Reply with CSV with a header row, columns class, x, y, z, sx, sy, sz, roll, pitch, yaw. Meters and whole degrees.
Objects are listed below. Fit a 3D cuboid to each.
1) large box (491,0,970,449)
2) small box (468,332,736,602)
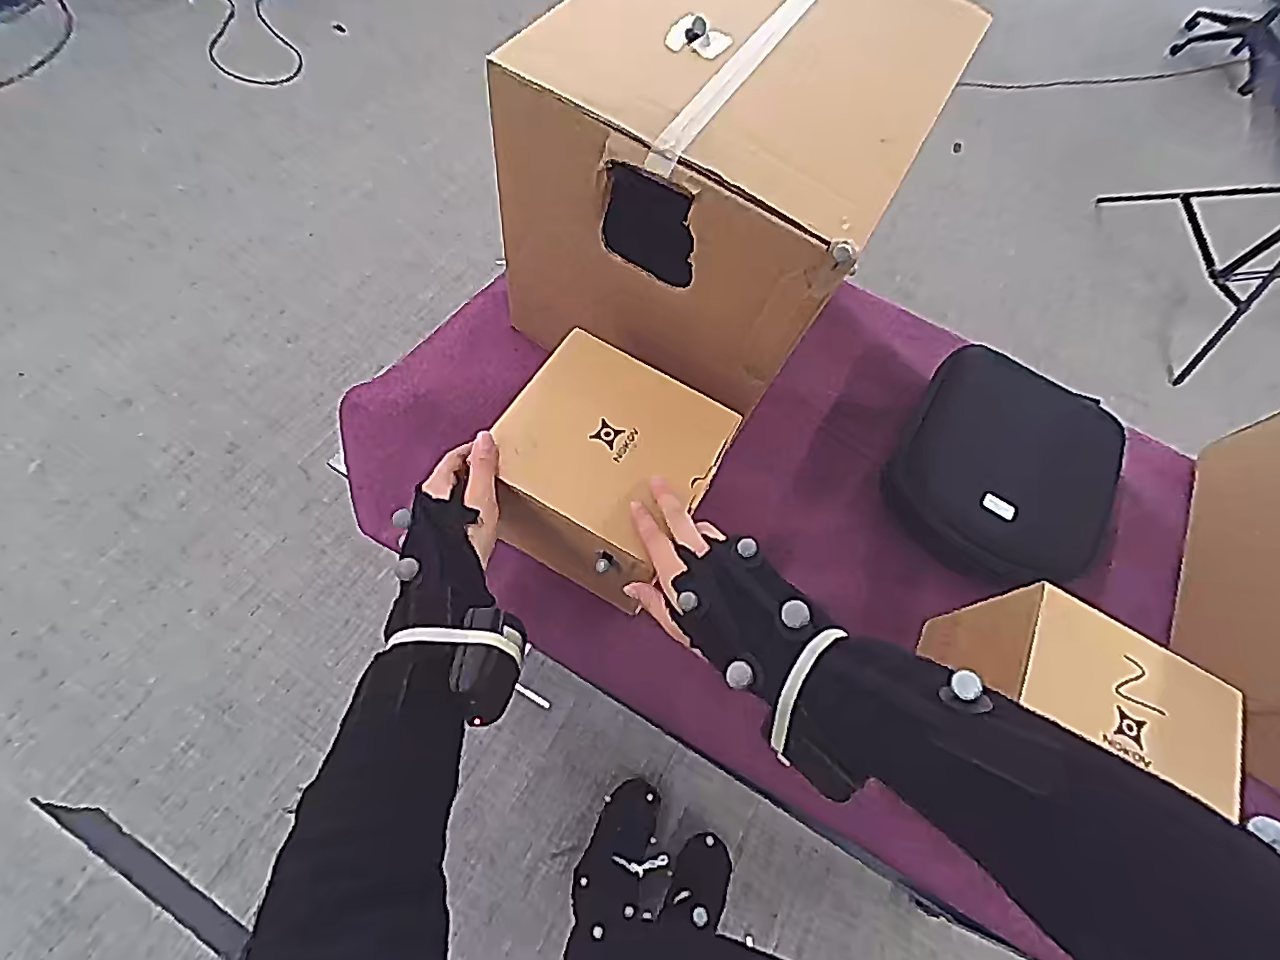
class,x,y,z,sx,sy,sz,roll,pitch,yaw
large box,0.088,-0.316,0.612,0.320,0.320,0.408,30,67,5
small box,-0.037,-0.002,0.527,0.179,0.176,0.168,28,64,5
